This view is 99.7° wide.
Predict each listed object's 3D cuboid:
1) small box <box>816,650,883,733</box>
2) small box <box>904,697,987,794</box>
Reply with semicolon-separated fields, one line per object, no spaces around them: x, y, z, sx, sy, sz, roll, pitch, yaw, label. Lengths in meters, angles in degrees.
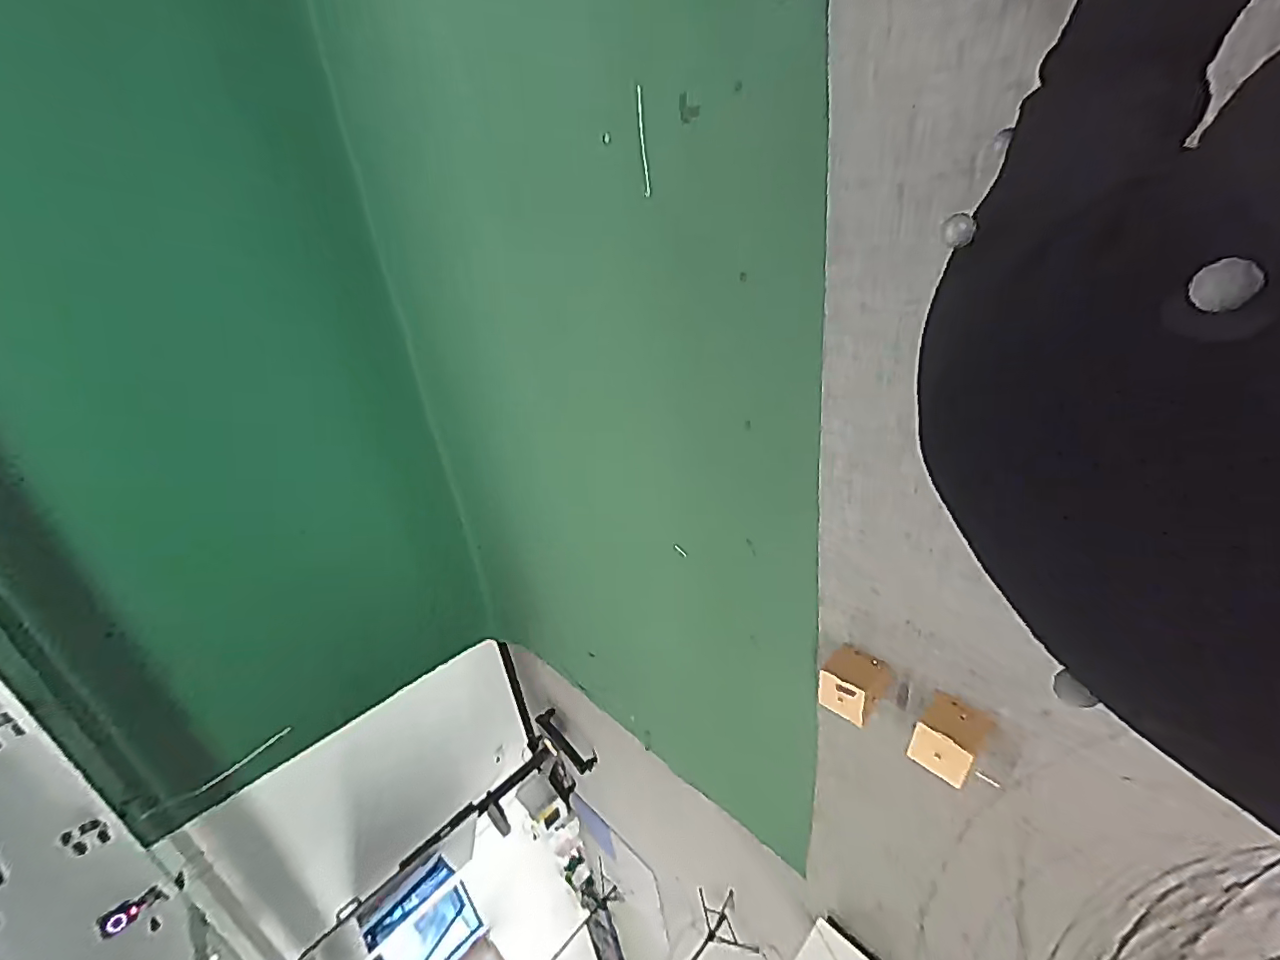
0.745;0.742;1.919;0.168;0.176;0.179;20;127;42;small box
0.968;0.833;1.710;0.168;0.176;0.179;25;129;40;small box
